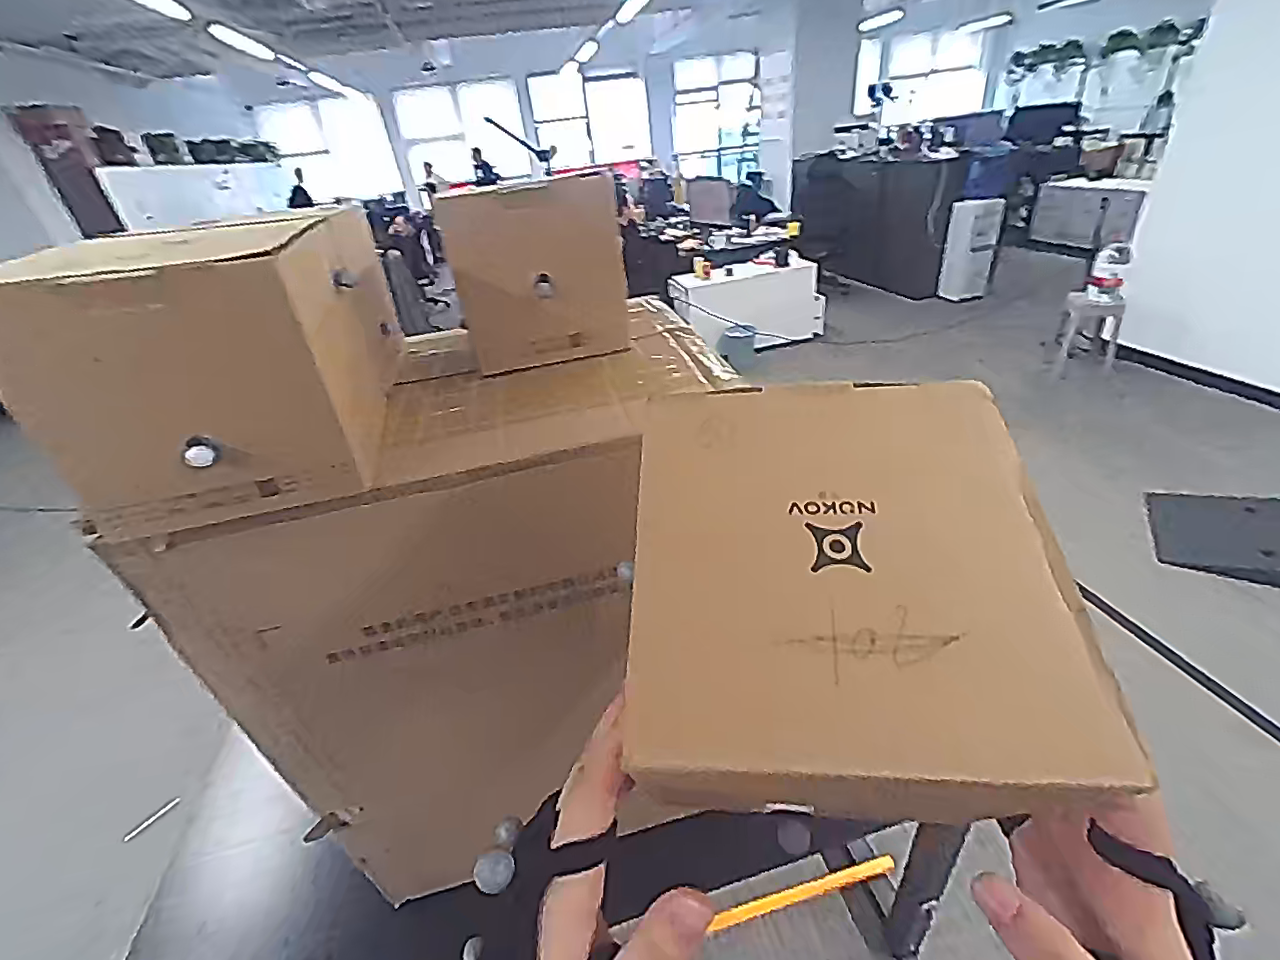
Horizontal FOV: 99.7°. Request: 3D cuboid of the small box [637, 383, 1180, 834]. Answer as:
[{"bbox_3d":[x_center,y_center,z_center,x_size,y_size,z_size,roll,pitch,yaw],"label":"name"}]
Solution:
[{"bbox_3d":[0.093,0.072,0.282,0.168,0.176,0.179,-2,55,7],"label":"small box"}]
